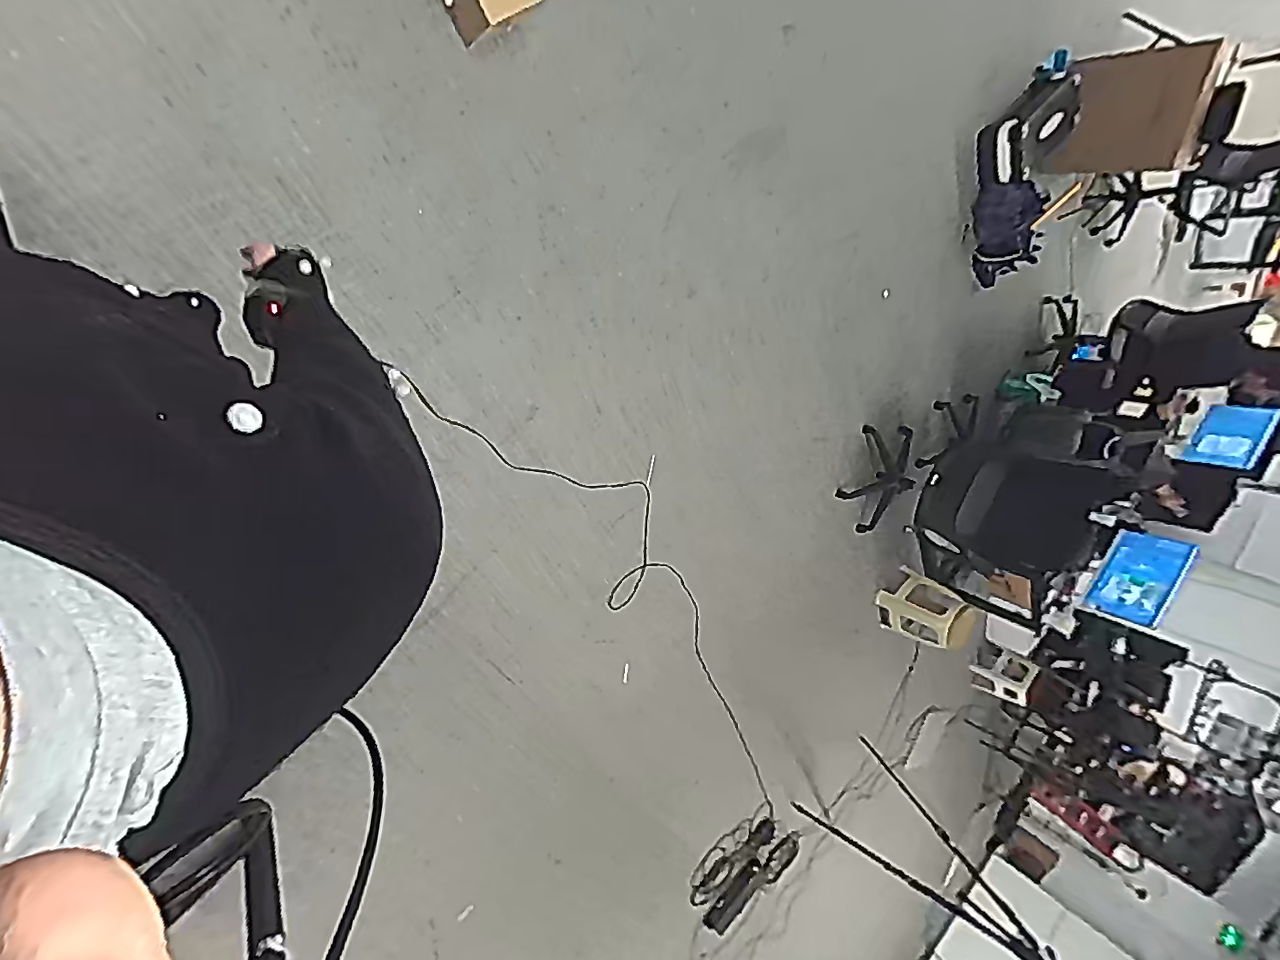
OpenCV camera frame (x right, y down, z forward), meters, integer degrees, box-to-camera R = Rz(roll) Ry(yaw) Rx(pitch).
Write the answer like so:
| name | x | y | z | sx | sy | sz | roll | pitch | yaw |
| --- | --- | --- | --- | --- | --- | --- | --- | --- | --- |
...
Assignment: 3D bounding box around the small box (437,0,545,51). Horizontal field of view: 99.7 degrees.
| name | x | y | z | sx | sy | sz | roll | pitch | yaw |
| --- | --- | --- | --- | --- | --- | --- | --- | --- | --- |
| small box | -0.359 | -1.143 | 1.253 | 0.179 | 0.176 | 0.168 | -42 | 127 | -17 |
